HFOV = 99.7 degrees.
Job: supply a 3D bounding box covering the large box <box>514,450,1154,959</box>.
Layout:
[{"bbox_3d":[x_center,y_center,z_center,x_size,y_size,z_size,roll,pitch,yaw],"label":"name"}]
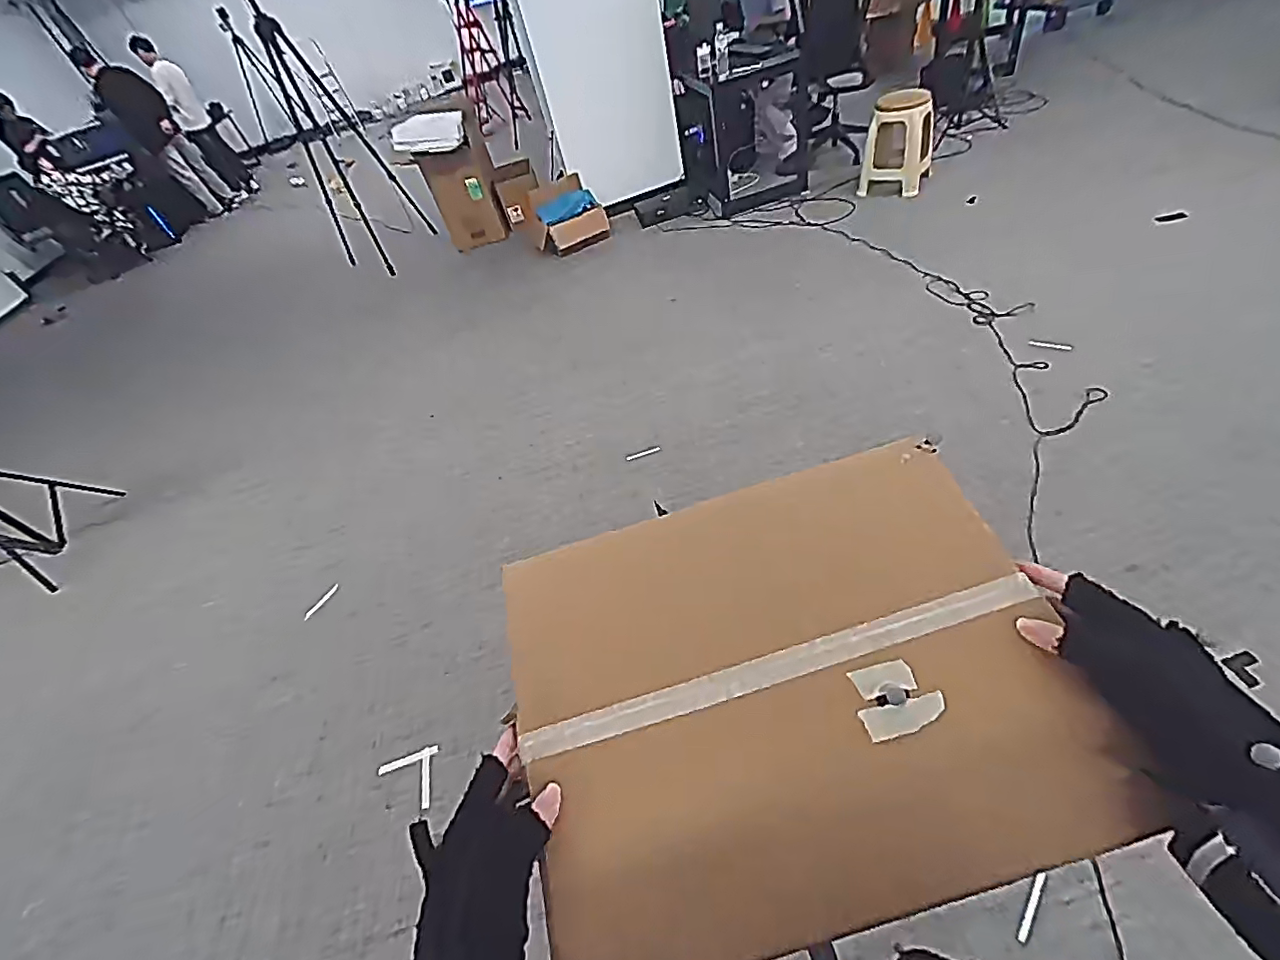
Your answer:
[{"bbox_3d":[0.130,0.231,0.550,0.408,0.320,0.320,-18,56,0],"label":"large box"}]
